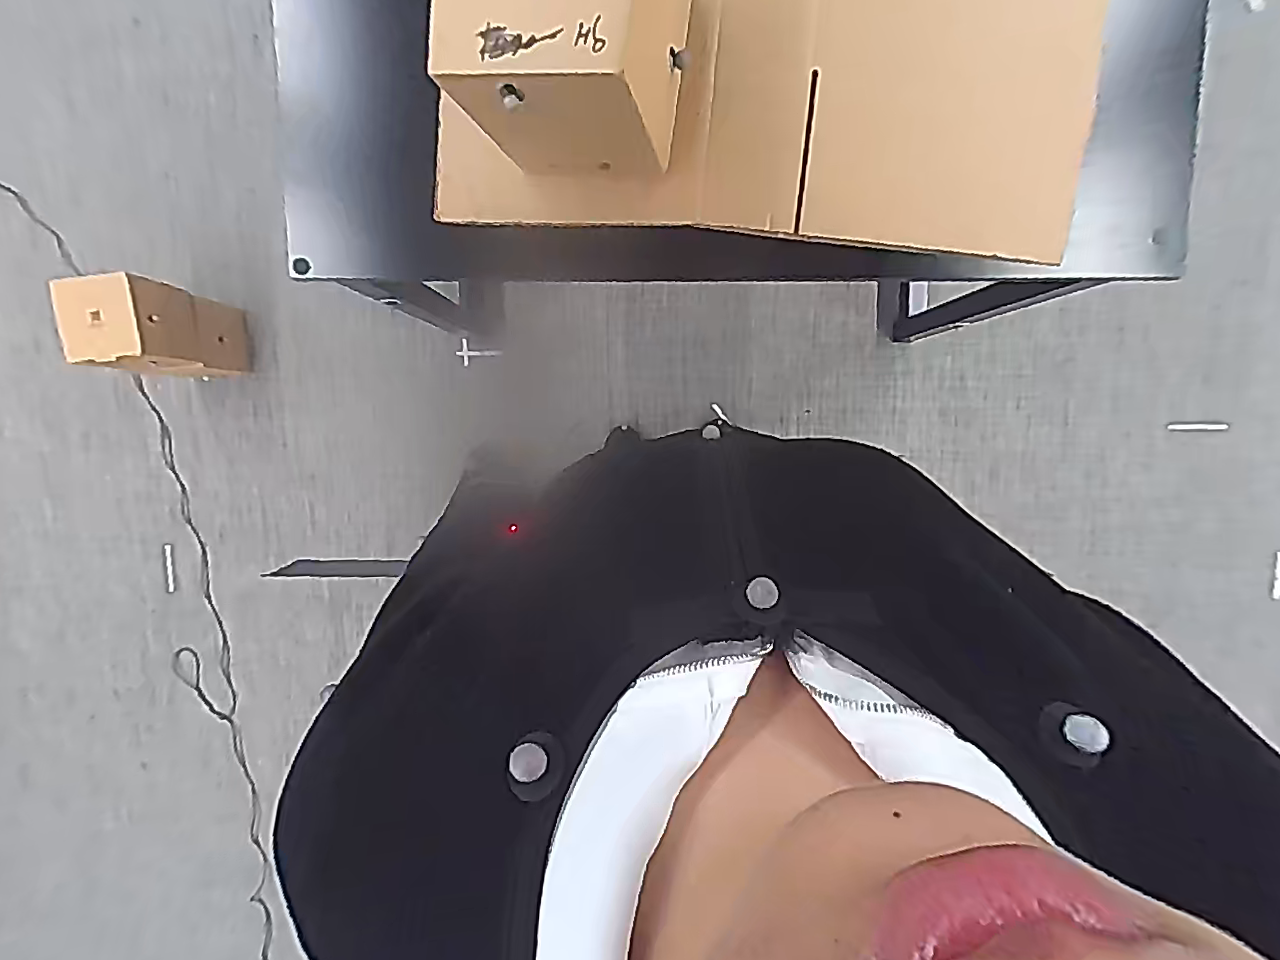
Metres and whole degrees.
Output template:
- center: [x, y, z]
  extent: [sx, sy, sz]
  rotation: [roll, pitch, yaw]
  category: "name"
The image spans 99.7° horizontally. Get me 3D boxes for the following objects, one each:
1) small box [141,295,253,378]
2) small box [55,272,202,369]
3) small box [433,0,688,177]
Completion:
- center: [-1.141, -0.363, 1.389]
  extent: [0.168, 0.176, 0.179]
  rotation: [-4, 97, 1]
  category: "small box"
- center: [-1.144, -0.351, 1.226]
  extent: [0.168, 0.176, 0.179]
  rotation: [-7, 95, 0]
  category: "small box"
- center: [-0.056, -0.404, 0.483]
  extent: [0.168, 0.176, 0.179]
  rotation: [10, 96, 13]
  category: "small box"
